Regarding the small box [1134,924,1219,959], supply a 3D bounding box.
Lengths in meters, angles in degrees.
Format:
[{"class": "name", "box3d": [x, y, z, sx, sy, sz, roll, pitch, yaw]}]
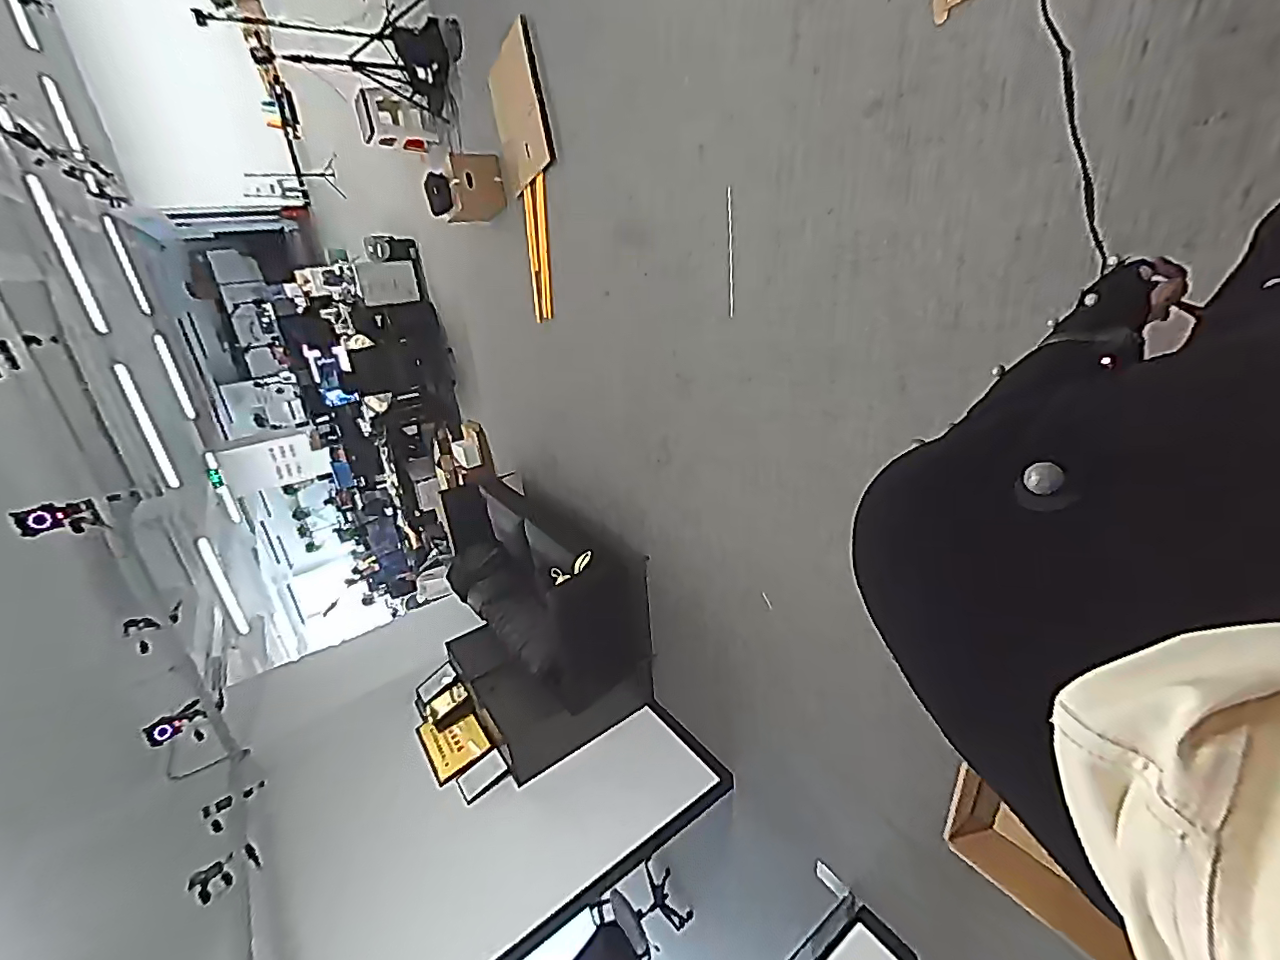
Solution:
[{"class": "small box", "box3d": [0.968, 0.951, 0.950, 0.168, 0.176, 0.179, 29, 131, 47]}]
